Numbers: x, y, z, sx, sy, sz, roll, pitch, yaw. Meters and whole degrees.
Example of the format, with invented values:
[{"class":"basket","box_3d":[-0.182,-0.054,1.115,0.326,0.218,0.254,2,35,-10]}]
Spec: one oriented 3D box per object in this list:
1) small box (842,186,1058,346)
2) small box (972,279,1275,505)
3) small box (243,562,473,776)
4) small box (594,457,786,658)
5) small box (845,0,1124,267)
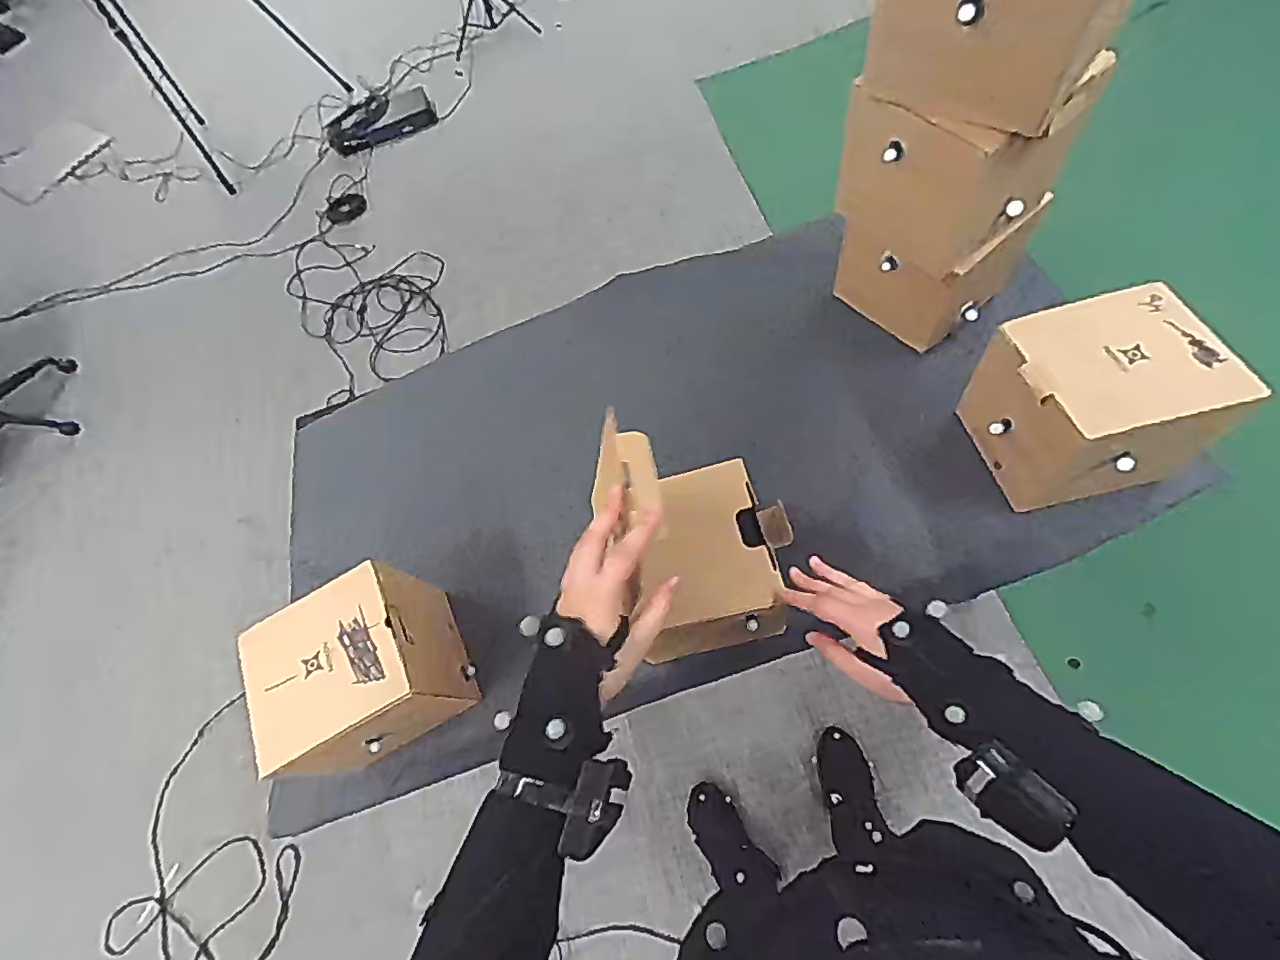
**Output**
[{"class":"small box","box_3d":[0.406,-0.322,0.750,0.168,0.176,0.179,-40,66,-5]},{"class":"small box","box_3d":[0.513,-0.089,0.618,0.179,0.176,0.168,-15,60,6]},{"class":"small box","box_3d":[-0.325,0.227,0.656,0.179,0.176,0.168,-30,64,-2]},{"class":"small box","box_3d":[0.062,0.101,0.634,0.179,0.176,0.168,-15,63,5]},{"class":"small box","box_3d":[0.354,-0.379,0.603,0.168,0.176,0.179,-37,65,-2]}]
